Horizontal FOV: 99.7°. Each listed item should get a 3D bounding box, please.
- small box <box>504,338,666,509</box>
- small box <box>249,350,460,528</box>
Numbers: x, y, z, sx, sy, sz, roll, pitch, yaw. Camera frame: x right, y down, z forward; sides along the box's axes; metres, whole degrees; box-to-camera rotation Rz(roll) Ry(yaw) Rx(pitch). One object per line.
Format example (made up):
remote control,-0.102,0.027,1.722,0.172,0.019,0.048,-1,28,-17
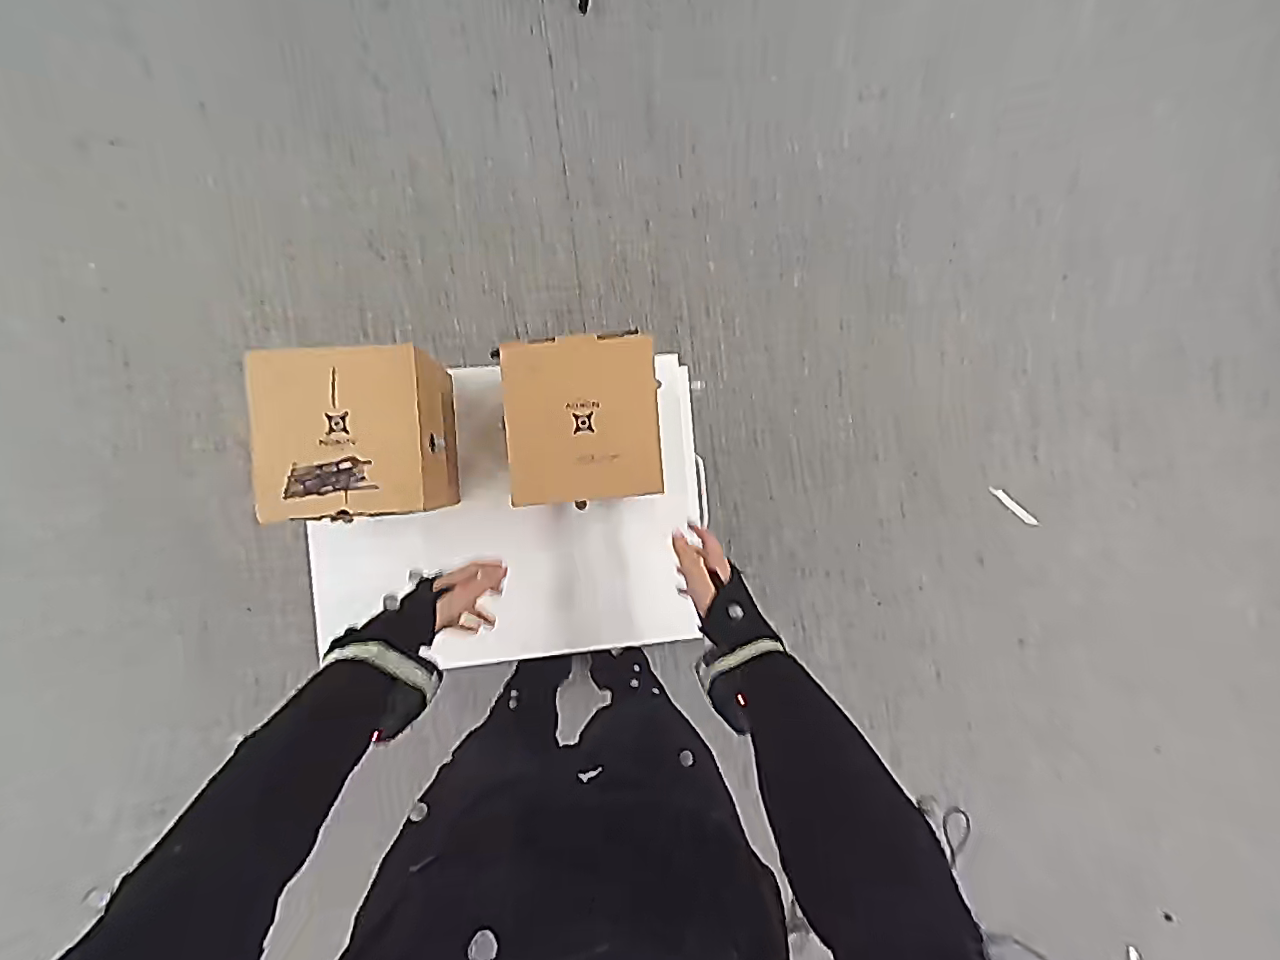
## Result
small box,-0.066,-0.062,0.658,0.168,0.176,0.179,-5,92,-5
small box,-0.314,-0.043,0.629,0.168,0.176,0.179,-4,90,-7
